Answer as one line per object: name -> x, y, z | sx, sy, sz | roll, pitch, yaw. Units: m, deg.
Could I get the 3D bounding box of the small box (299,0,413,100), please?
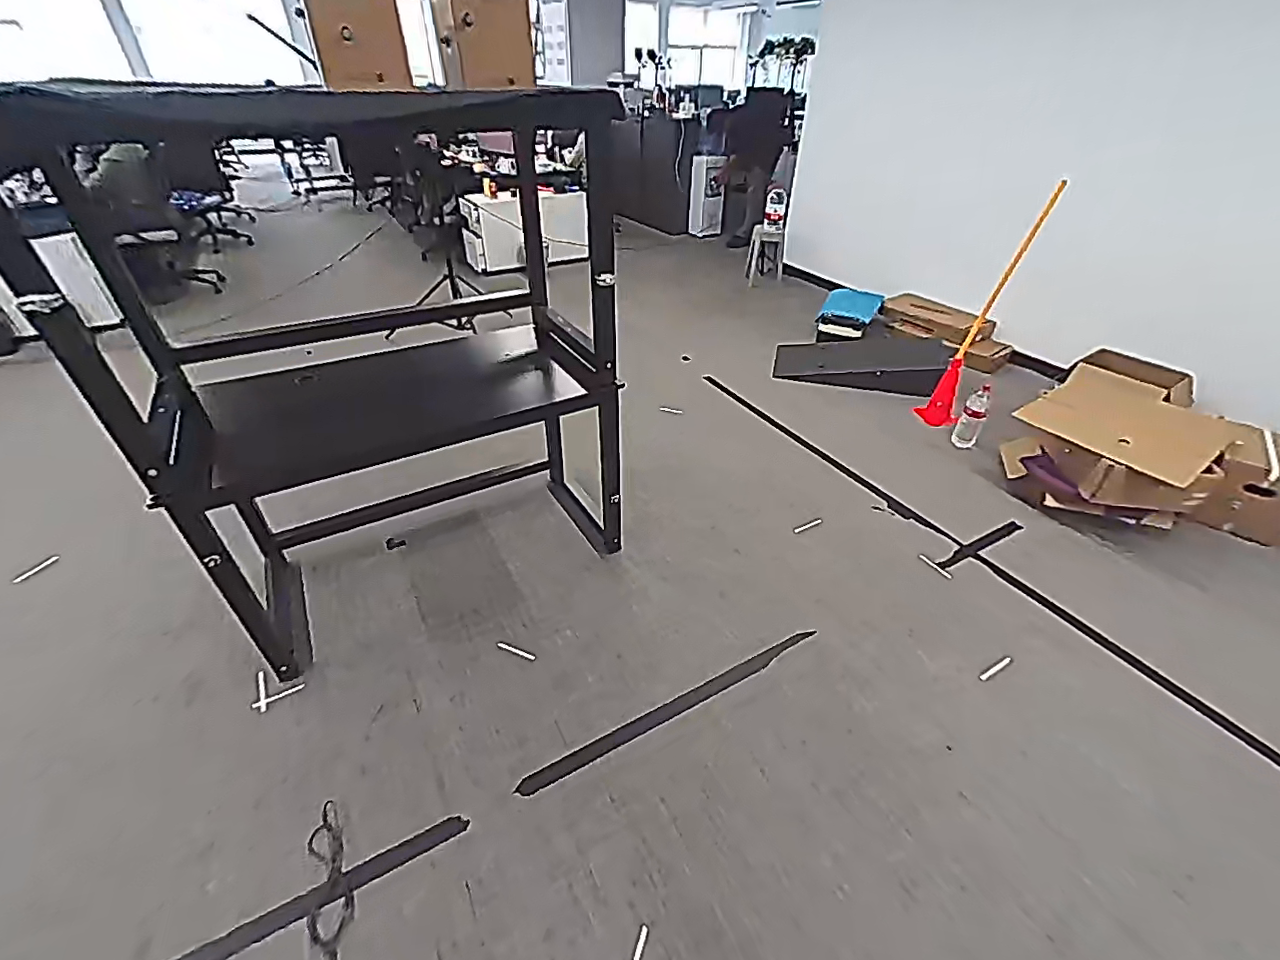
small box -> -0.577, -0.884, 1.105 | 0.168, 0.176, 0.179 | -17, 39, -22

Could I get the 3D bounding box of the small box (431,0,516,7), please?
small box -> -0.341, -1.081, 1.097 | 0.179, 0.176, 0.168 | -19, 39, -22
